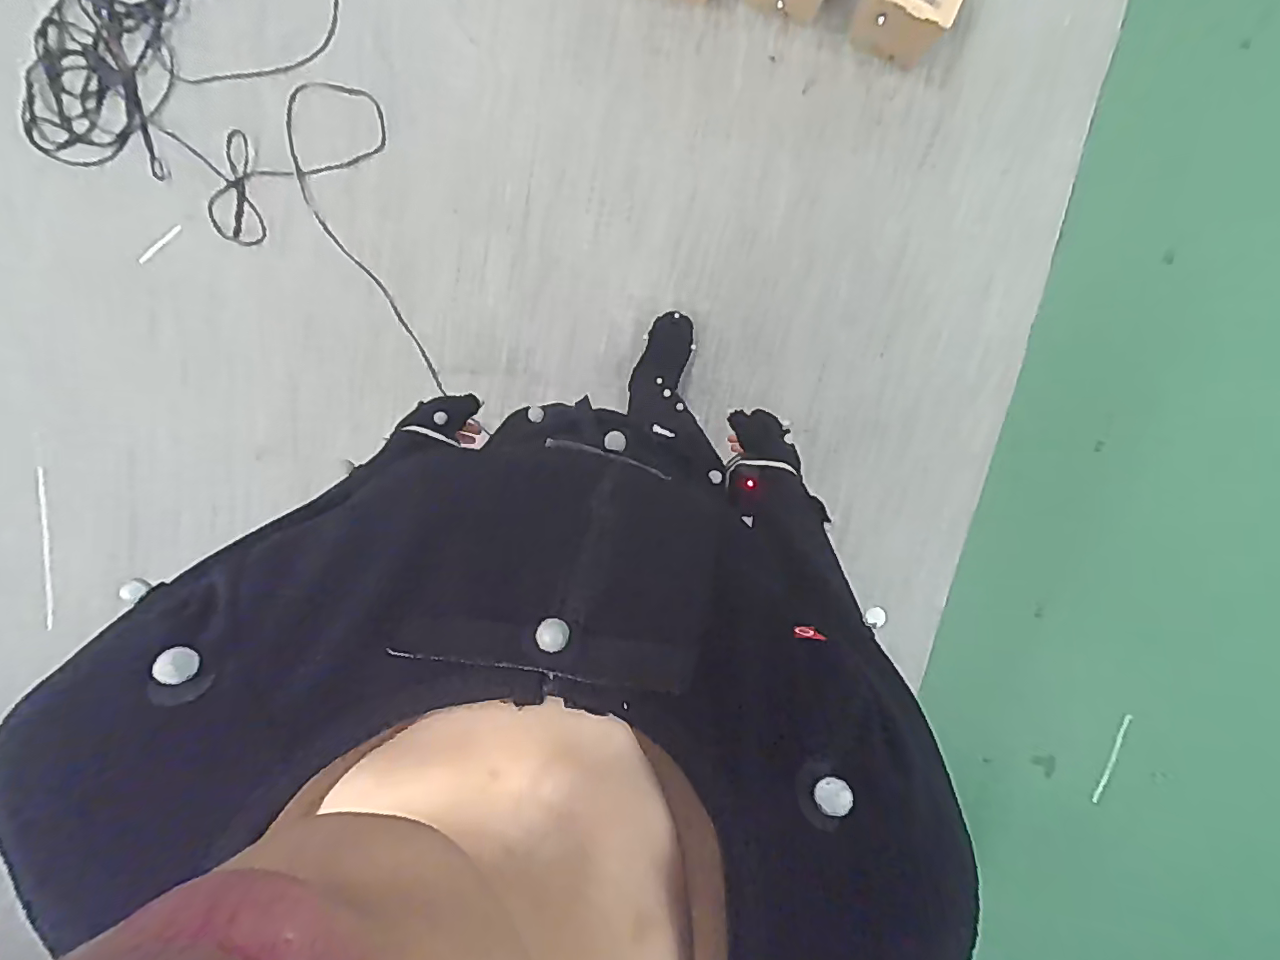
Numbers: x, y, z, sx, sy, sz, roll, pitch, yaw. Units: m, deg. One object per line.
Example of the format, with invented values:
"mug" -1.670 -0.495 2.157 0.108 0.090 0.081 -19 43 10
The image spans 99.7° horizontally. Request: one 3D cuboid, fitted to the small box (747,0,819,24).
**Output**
"small box" 0.339 -1.148 1.160 0.168 0.176 0.179 18 101 -4
